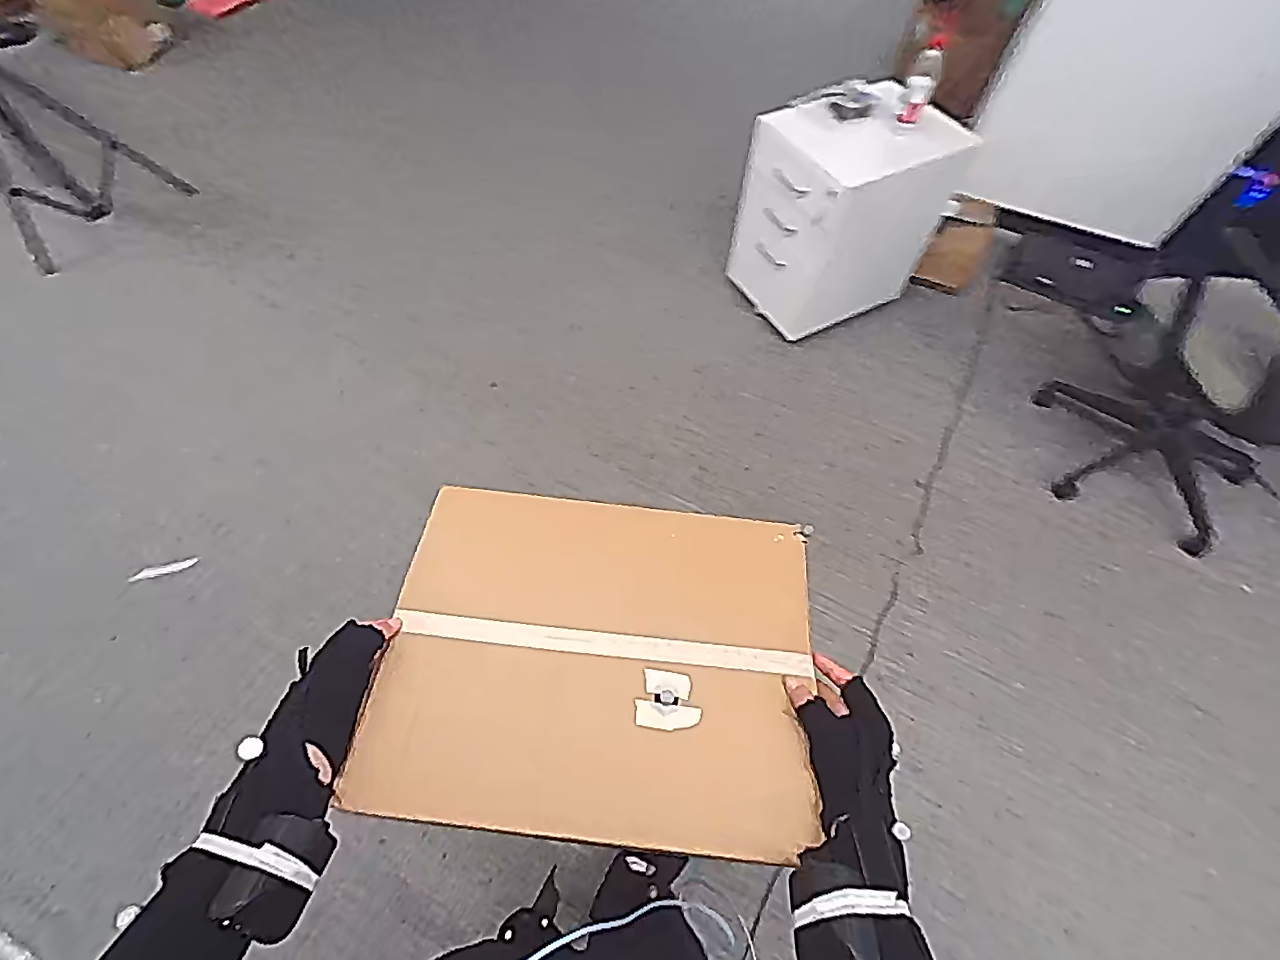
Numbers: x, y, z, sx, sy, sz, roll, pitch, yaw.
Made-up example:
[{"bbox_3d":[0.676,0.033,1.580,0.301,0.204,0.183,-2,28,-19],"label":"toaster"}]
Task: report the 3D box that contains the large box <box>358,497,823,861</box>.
[{"bbox_3d":[-0.037,0.249,0.657,0.408,0.320,0.320,8,57,1],"label":"large box"}]
